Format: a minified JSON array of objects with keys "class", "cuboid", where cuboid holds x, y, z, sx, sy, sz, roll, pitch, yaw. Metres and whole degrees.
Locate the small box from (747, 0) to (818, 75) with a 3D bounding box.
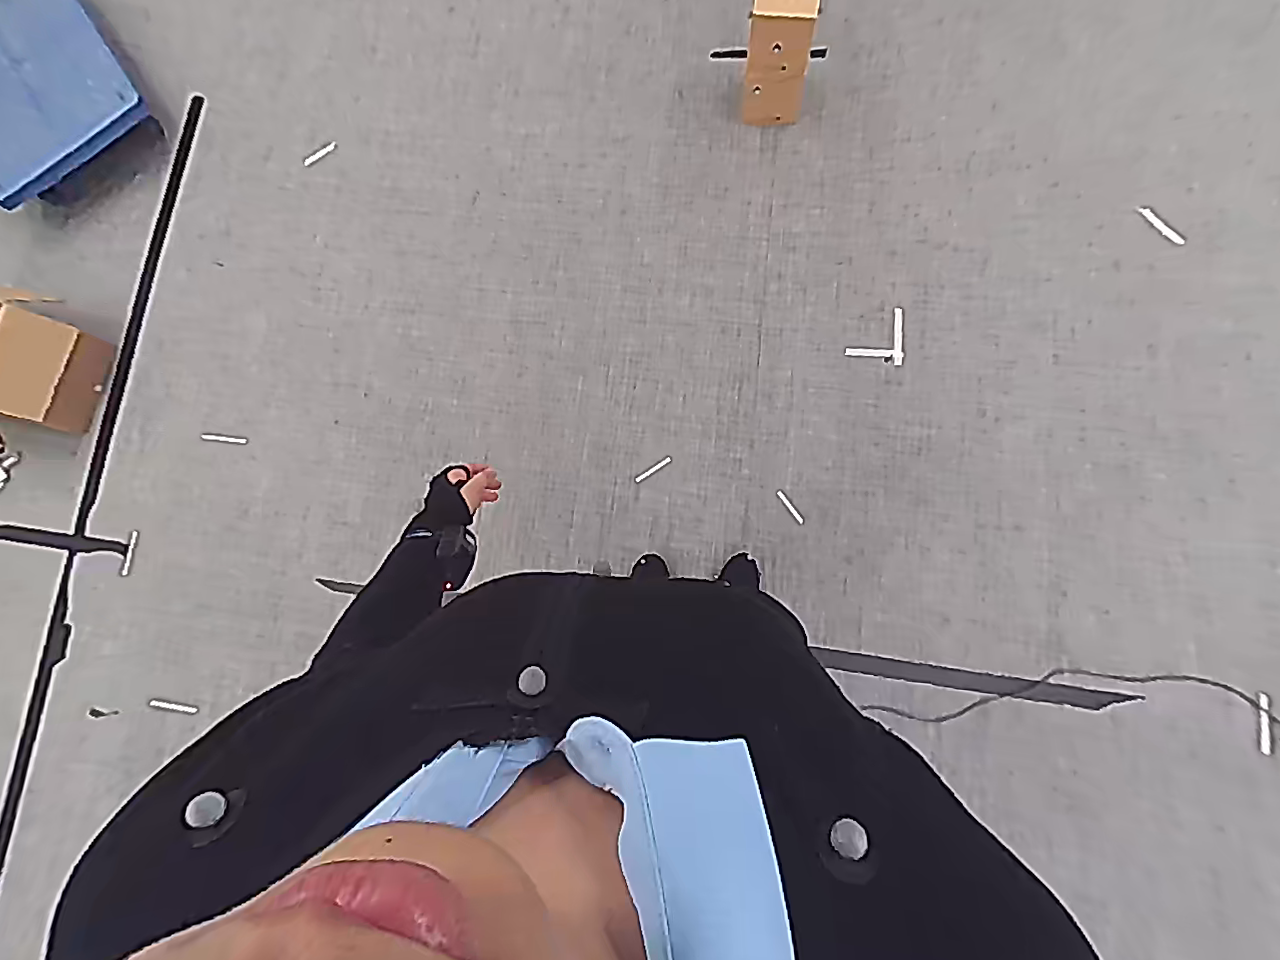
[{"class":"small box","cuboid":[0.388,-1.245,1.465,0.168,0.176,0.179,10,81,7]}]
